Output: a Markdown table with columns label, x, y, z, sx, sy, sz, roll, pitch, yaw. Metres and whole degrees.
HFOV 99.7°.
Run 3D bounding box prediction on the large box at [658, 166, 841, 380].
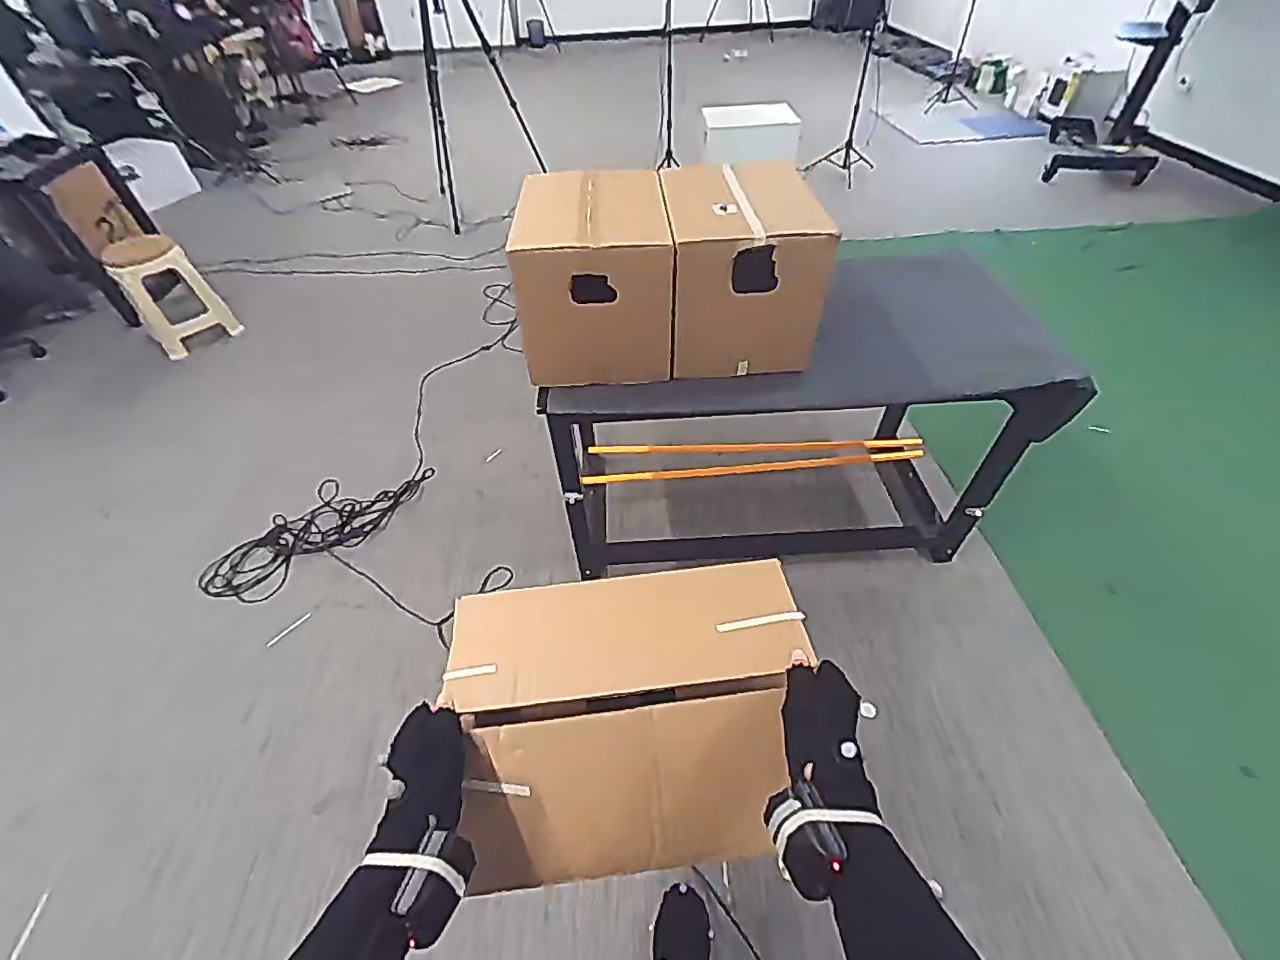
| label | x | y | z | sx | sy | sz | roll | pitch | yaw |
| --- | --- | --- | --- | --- | --- | --- | --- | --- | --- |
| large box | 0.215 | -0.482 | 1.247 | 0.320 | 0.320 | 0.408 | -5 | 48 | 0 |
